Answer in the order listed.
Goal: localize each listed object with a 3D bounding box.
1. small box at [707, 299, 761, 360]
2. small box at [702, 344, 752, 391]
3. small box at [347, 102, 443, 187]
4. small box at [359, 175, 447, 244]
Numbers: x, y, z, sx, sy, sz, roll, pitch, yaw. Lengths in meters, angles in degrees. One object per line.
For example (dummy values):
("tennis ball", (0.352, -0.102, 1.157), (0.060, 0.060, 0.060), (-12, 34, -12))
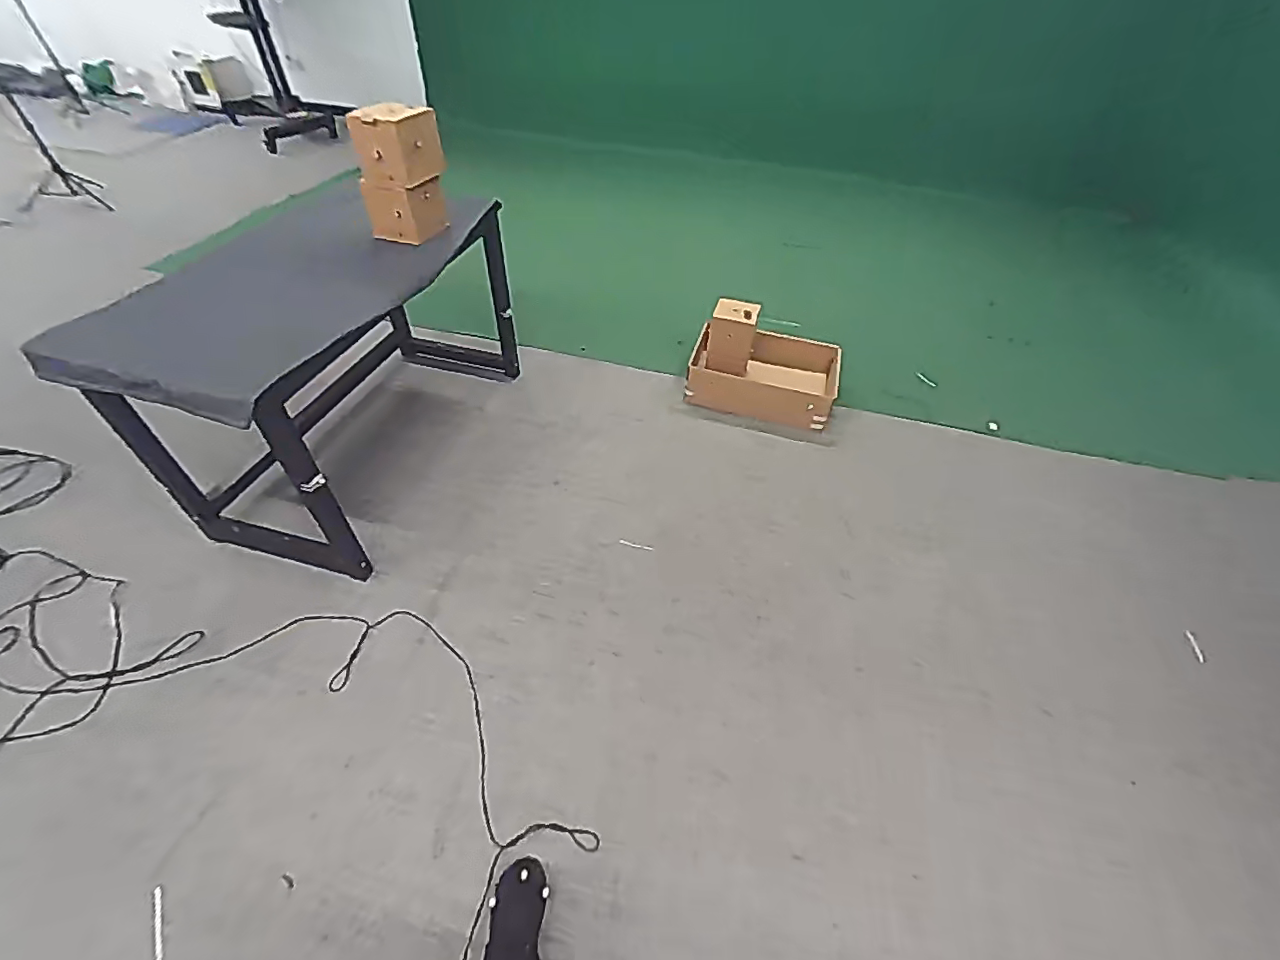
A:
("small box", (0.387, -0.622, 2.247), (0.179, 0.176, 0.168), (15, 48, 10))
("small box", (0.379, -0.513, 2.370), (0.179, 0.176, 0.168), (15, 48, 8))
("small box", (-0.698, -0.972, 1.569), (0.168, 0.176, 0.179), (18, 48, 13))
("small box", (-0.725, -0.854, 1.682), (0.168, 0.176, 0.179), (16, 46, 11))
